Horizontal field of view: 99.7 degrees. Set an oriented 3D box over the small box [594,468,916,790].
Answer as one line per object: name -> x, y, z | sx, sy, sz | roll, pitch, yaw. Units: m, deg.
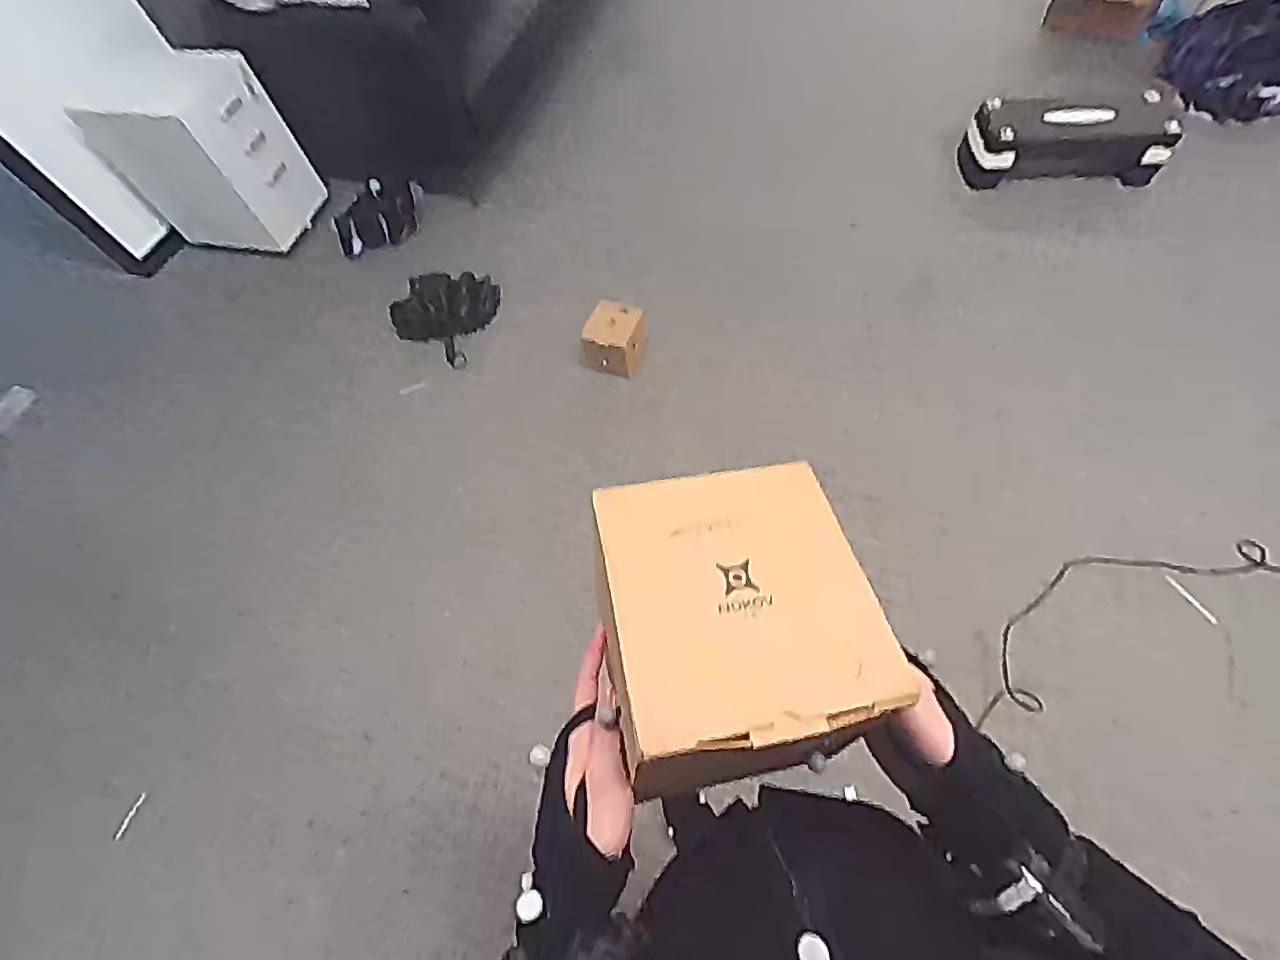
small box -> 0.060, 0.117, 0.407 | 0.168, 0.176, 0.179 | -7, 52, -10
